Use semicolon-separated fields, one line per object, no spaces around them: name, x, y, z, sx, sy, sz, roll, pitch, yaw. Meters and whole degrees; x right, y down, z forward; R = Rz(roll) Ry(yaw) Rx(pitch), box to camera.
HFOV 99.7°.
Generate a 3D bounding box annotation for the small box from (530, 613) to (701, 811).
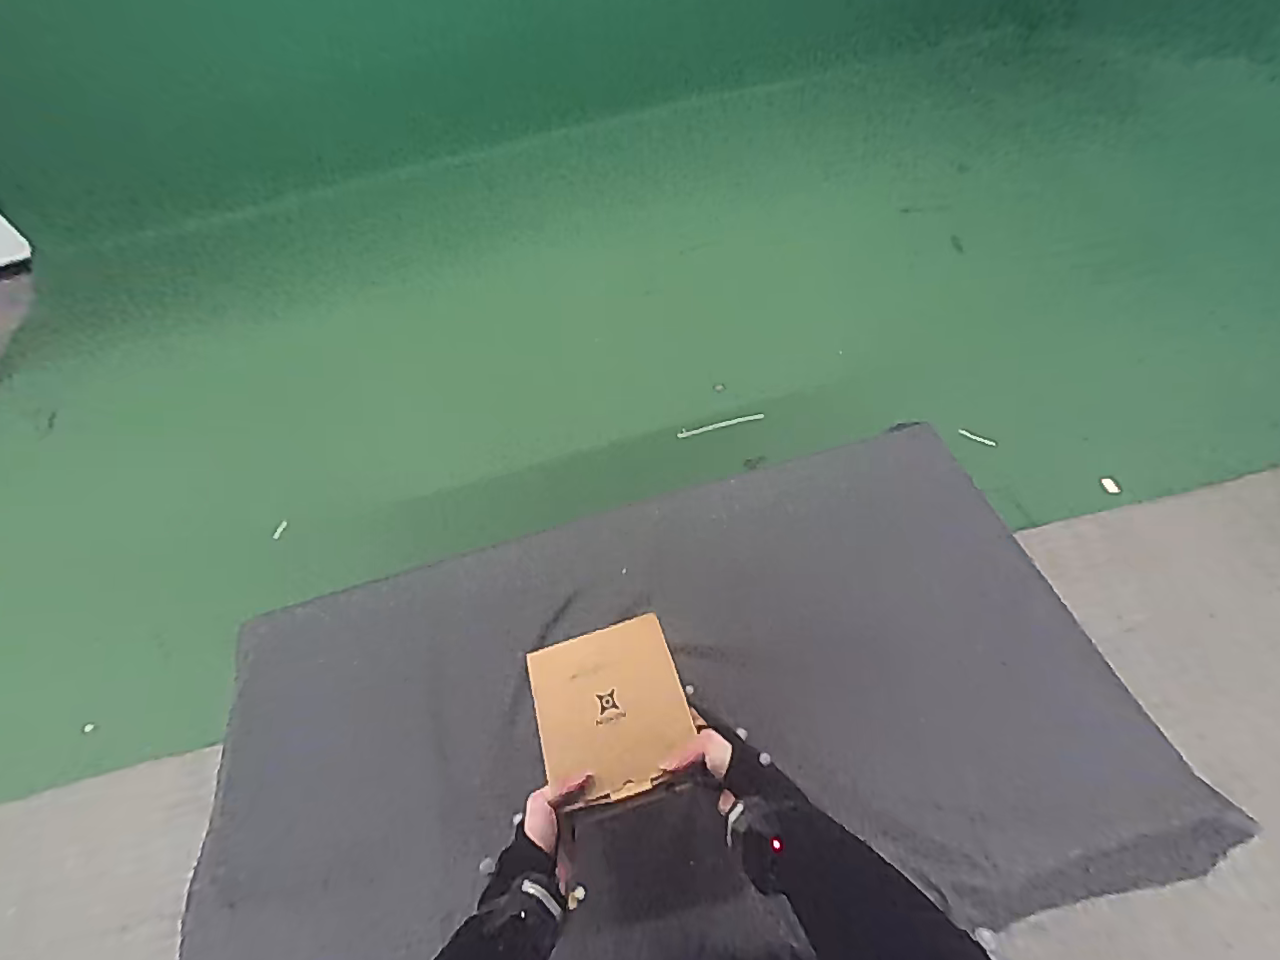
small box;-0.026;0.297;0.680;0.168;0.176;0.179;-16;55;-6
